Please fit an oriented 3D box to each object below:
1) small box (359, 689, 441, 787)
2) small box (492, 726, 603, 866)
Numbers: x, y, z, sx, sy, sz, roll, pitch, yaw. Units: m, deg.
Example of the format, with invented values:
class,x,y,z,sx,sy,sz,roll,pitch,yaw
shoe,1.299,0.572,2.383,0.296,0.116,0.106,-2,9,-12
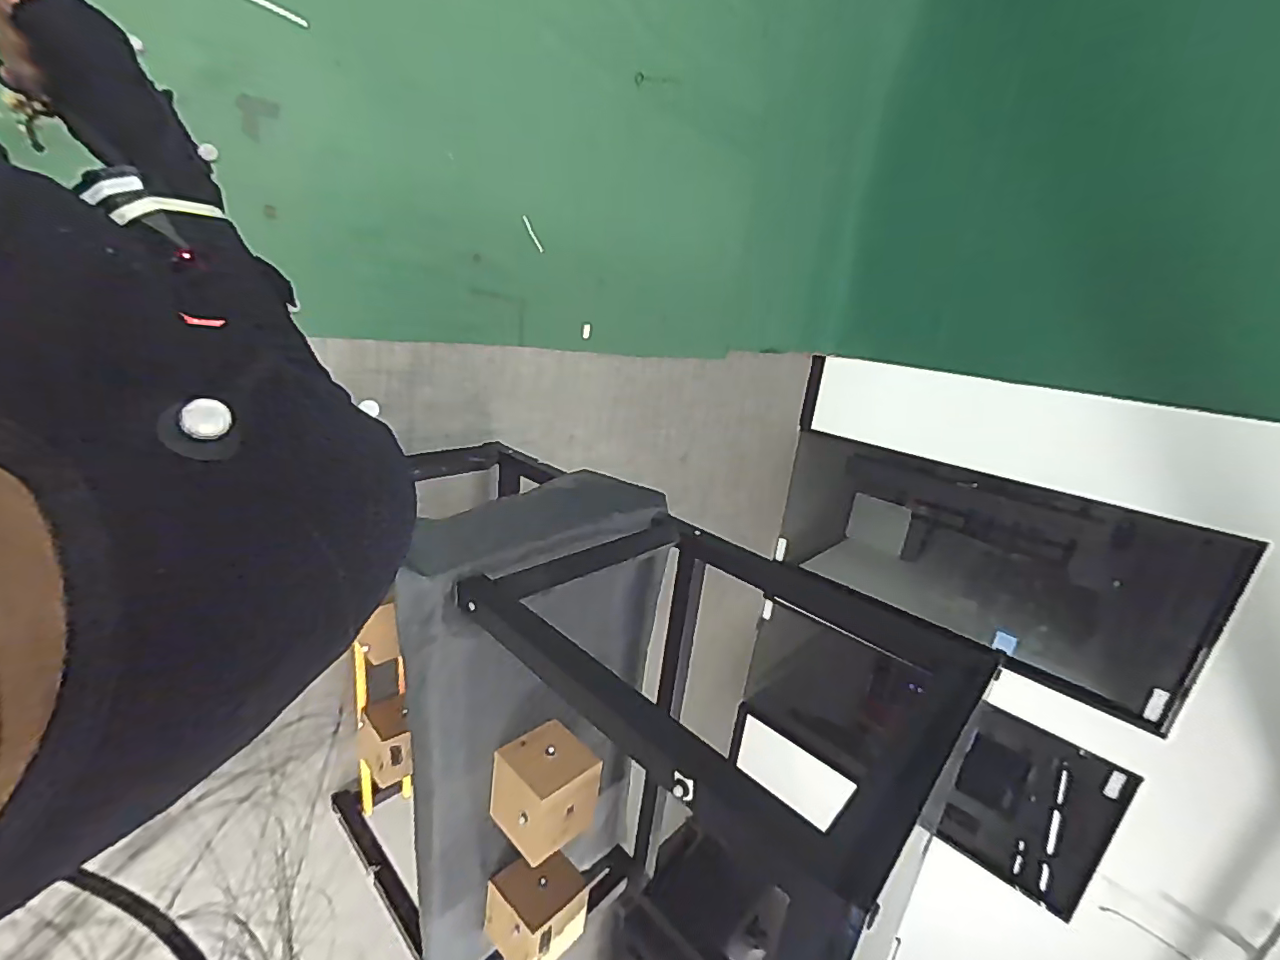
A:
class,x,y,z,sx,sy,sz,roll,pitch,yaw
small box,-0.723,0.764,1.619,0.179,0.176,0.168,-8,113,-47
small box,-0.205,0.669,1.176,0.168,0.176,0.179,-9,114,-47
